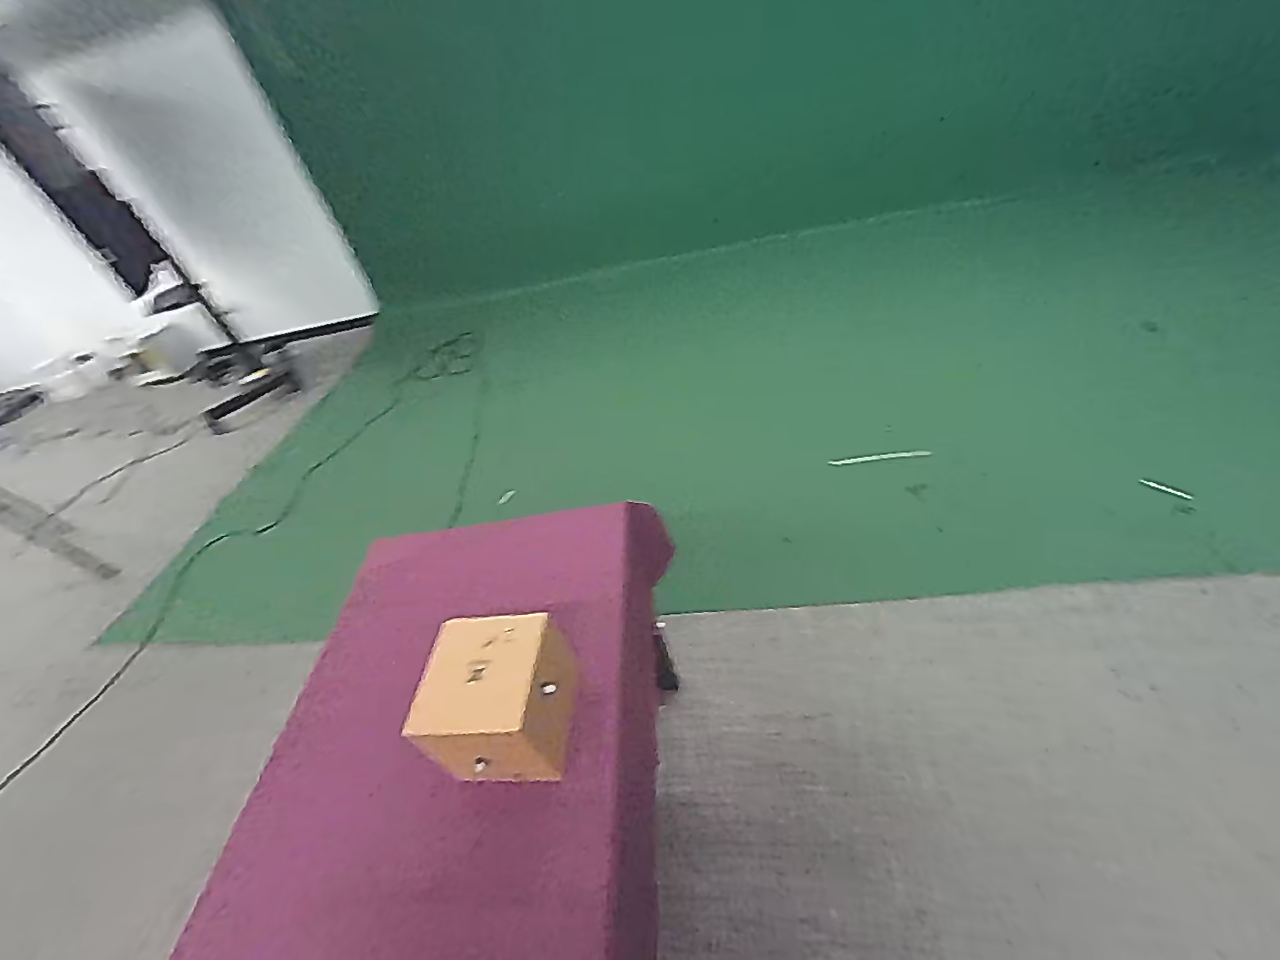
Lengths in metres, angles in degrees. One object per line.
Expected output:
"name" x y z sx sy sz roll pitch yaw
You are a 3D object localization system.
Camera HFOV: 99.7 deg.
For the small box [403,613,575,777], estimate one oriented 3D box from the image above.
"small box" -0.205 0.320 0.796 0.168 0.176 0.179 -7 42 12
